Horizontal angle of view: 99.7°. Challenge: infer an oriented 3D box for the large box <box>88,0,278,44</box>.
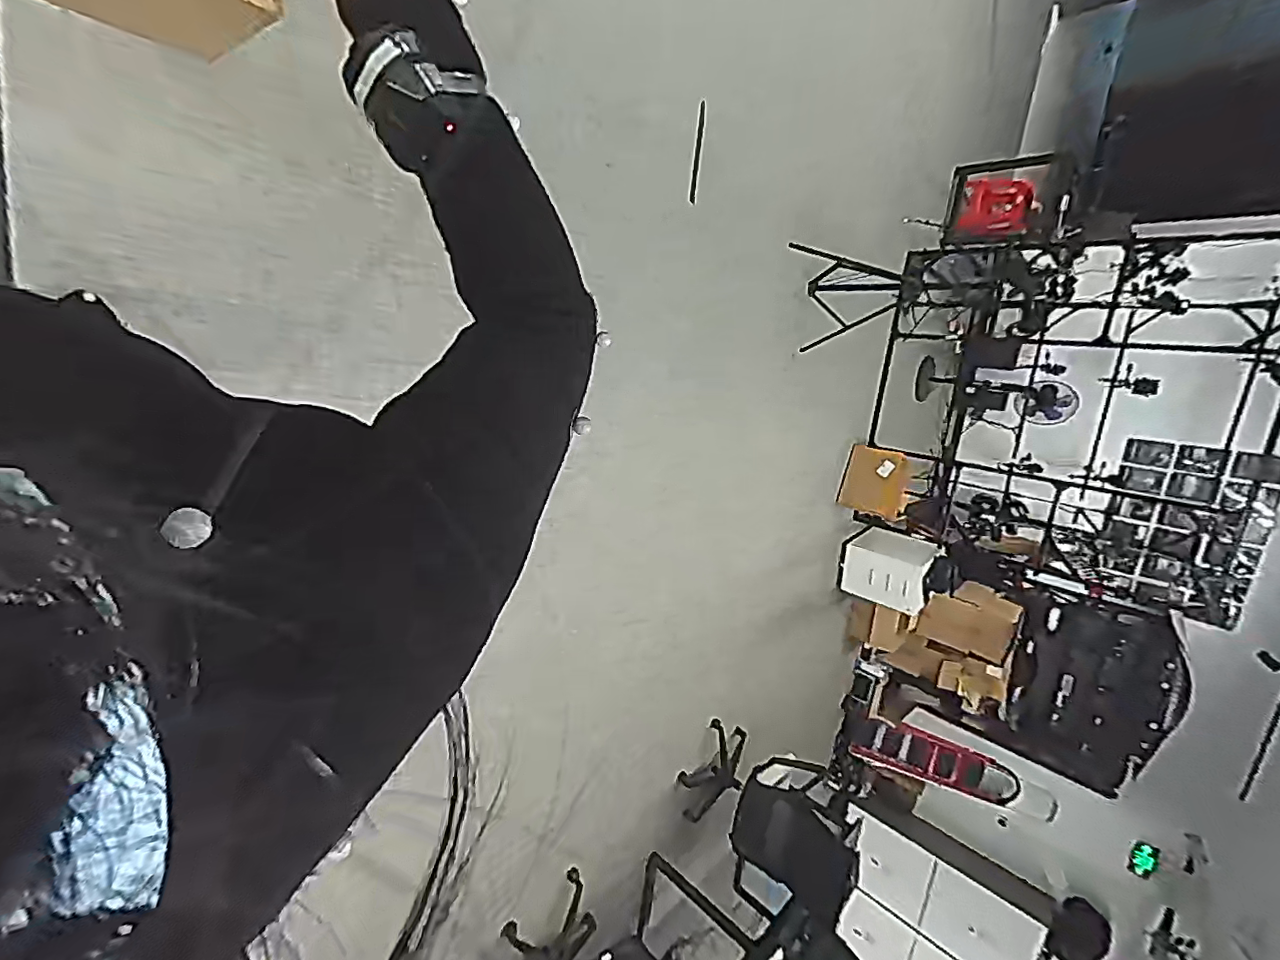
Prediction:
[{"bbox_3d":[-0.440,-0.502,0.271,0.408,0.320,0.320,-4,116,-43],"label":"large box"}]
